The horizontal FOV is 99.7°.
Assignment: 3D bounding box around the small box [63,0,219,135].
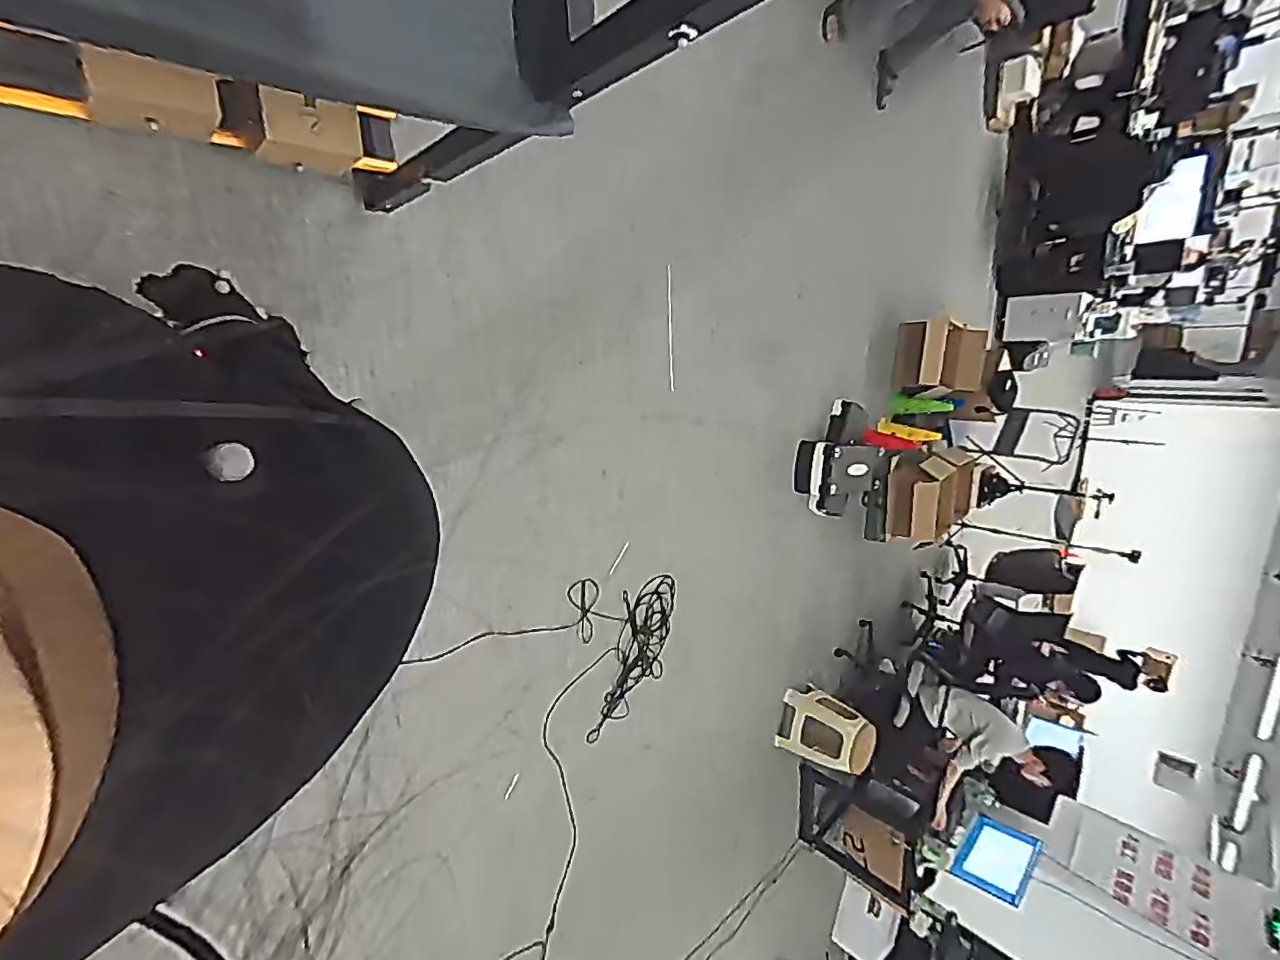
[{"bbox_3d":[-0.826,-0.704,0.898,0.168,0.176,0.179,-15,110,-41],"label":"small box"}]
